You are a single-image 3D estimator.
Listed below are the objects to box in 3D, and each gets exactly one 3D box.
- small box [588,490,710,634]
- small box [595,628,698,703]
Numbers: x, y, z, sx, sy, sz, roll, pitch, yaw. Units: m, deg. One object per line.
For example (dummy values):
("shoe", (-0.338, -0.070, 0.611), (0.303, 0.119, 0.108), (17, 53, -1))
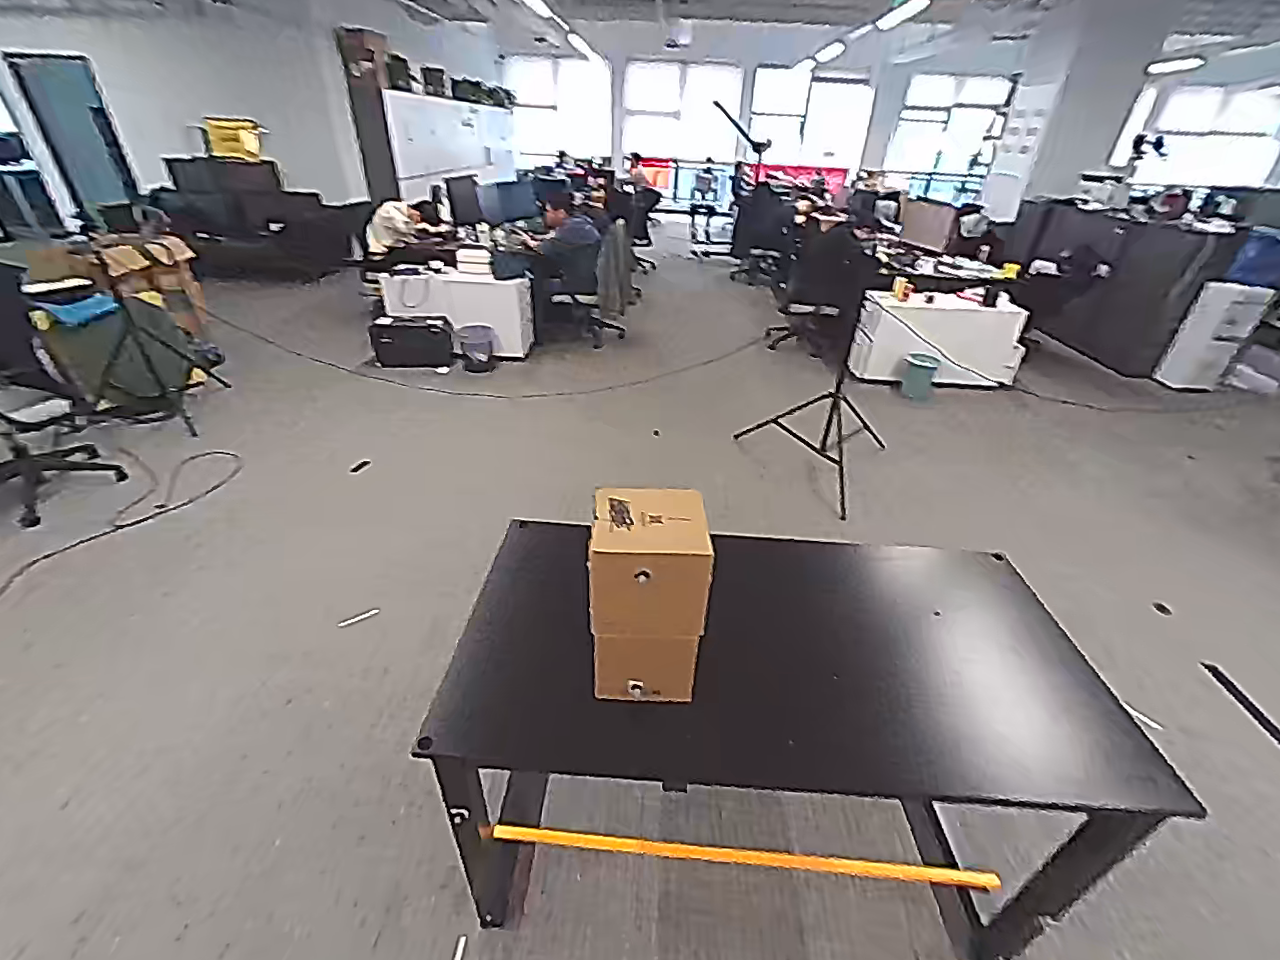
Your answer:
("small box", (0.010, 0.131, 0.870), (0.179, 0.176, 0.168), (1, 32, -2))
("small box", (0.007, 0.268, 0.961), (0.168, 0.176, 0.179), (0, 33, -1))
